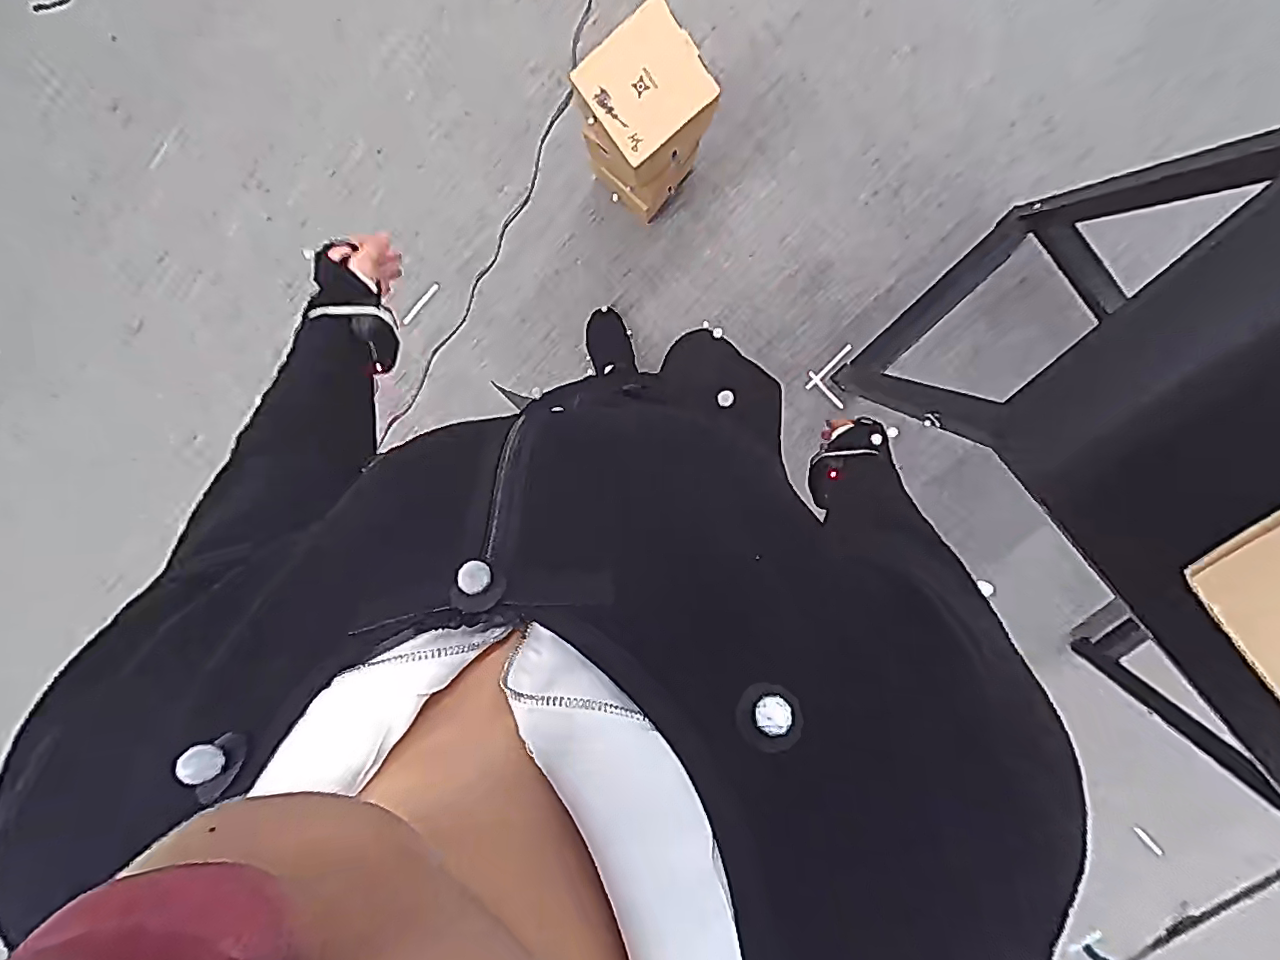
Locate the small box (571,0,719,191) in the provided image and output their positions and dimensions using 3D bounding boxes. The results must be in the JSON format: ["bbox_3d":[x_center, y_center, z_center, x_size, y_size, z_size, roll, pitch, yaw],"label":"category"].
[{"bbox_3d":[0.006,-0.627,0.909,0.179,0.176,0.168,-37,103,9],"label":"small box"}]

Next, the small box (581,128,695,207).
[{"bbox_3d":[0.006,-0.674,1.067,0.168,0.176,0.179,37,102,-10],"label":"small box"}]

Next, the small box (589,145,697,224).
[{"bbox_3d":[0.006,-0.715,1.224,0.168,0.176,0.179,40,104,-10],"label":"small box"}]
